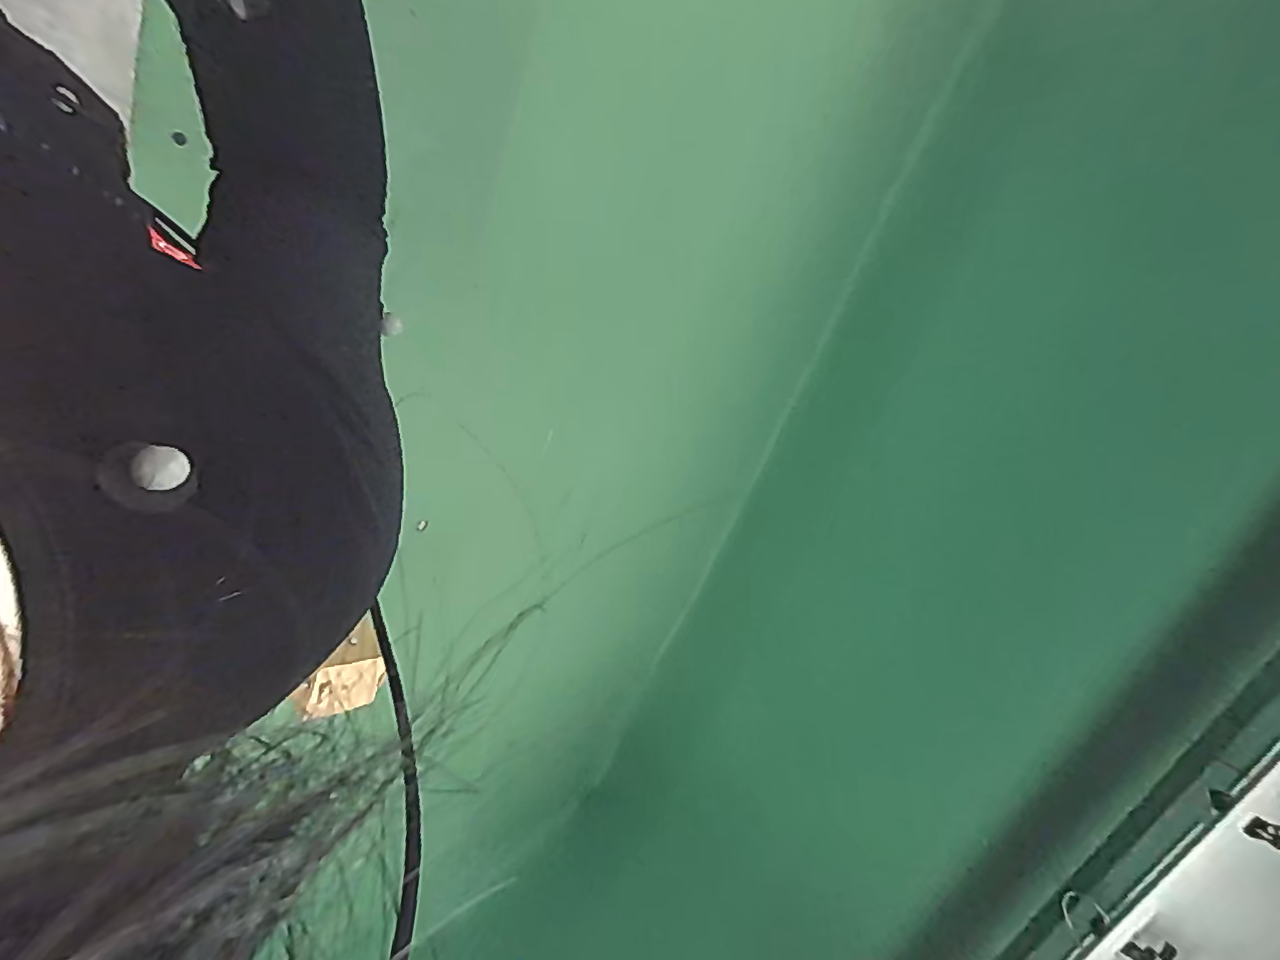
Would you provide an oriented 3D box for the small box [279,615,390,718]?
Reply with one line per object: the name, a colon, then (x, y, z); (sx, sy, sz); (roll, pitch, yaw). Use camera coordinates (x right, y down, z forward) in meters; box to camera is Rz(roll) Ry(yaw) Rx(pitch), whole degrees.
small box: (-0.786, 0.468, 1.389); (0.179, 0.176, 0.168); (6, 115, -54)
